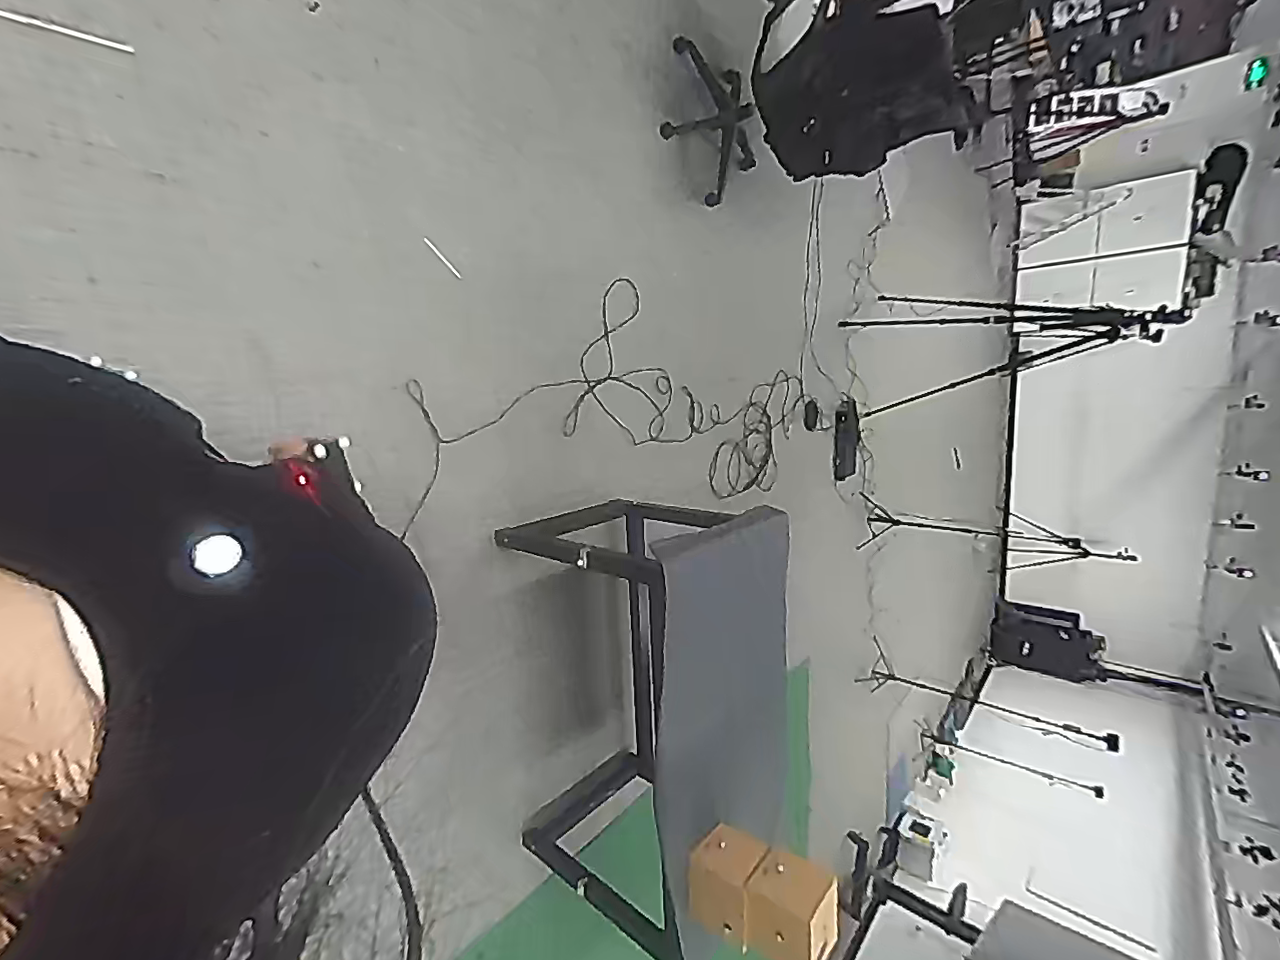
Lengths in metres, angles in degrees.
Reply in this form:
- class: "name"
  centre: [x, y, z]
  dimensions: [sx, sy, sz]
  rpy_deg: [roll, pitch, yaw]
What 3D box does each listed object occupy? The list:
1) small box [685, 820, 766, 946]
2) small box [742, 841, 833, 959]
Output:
- class: "small box"
  centre: [0.232, 1.061, 1.443]
  dimensions: [0.168, 0.176, 0.179]
  rpy_deg: [-7, 98, -50]
- class: "small box"
  centre: [0.364, 1.056, 1.345]
  dimensions: [0.168, 0.176, 0.179]
  rpy_deg: [-8, 99, -50]
